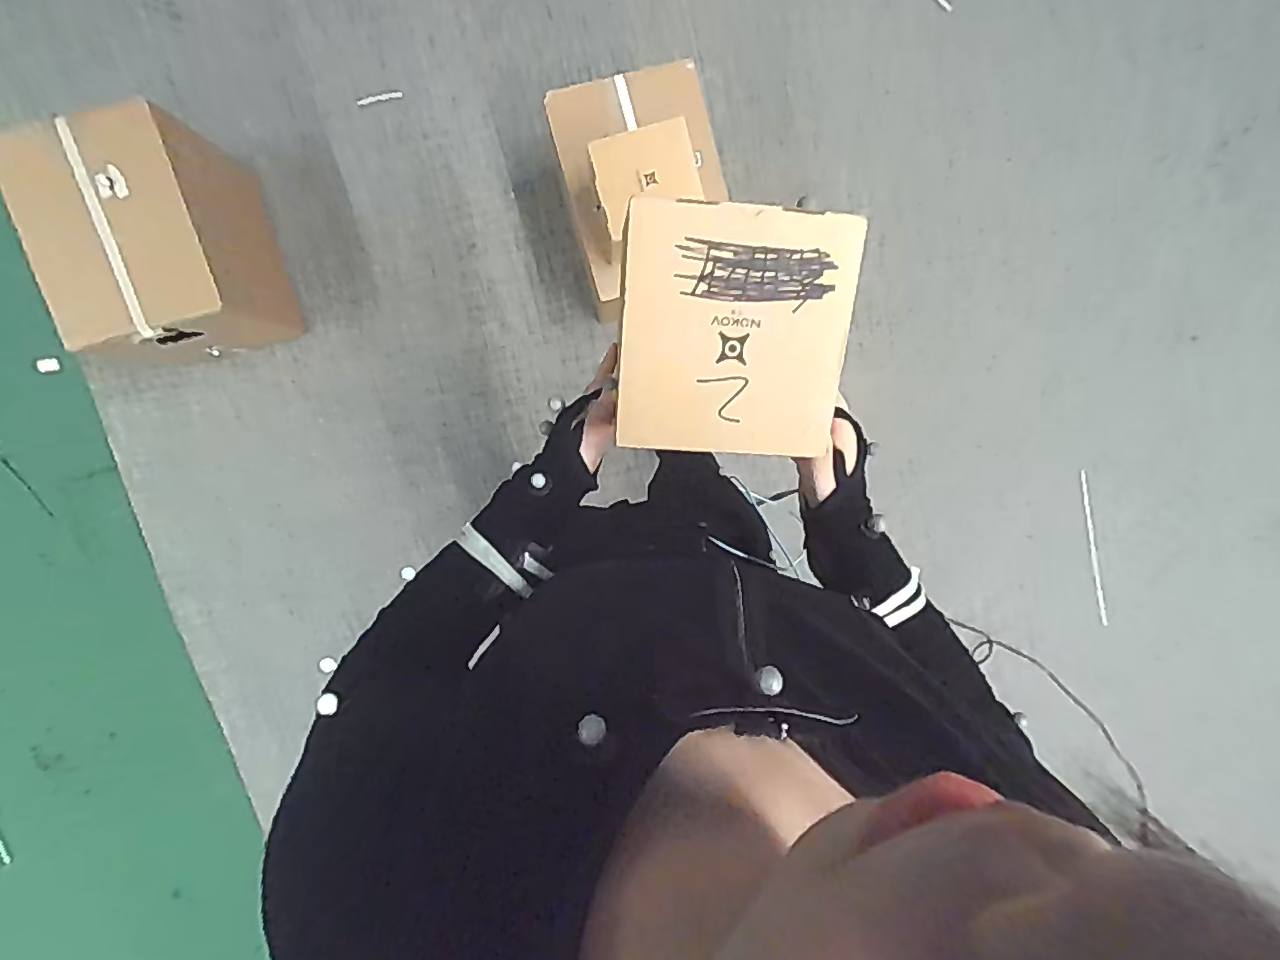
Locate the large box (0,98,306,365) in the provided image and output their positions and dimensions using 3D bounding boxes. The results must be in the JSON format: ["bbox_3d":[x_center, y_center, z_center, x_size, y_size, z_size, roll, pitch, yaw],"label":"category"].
[{"bbox_3d":[-1.017,-0.495,1.169,0.320,0.320,0.408,-16,97,-2],"label":"large box"}]

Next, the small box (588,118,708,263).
[{"bbox_3d":[0.010,-0.522,0.999,0.179,0.176,0.168,-16,98,1],"label":"small box"}]
